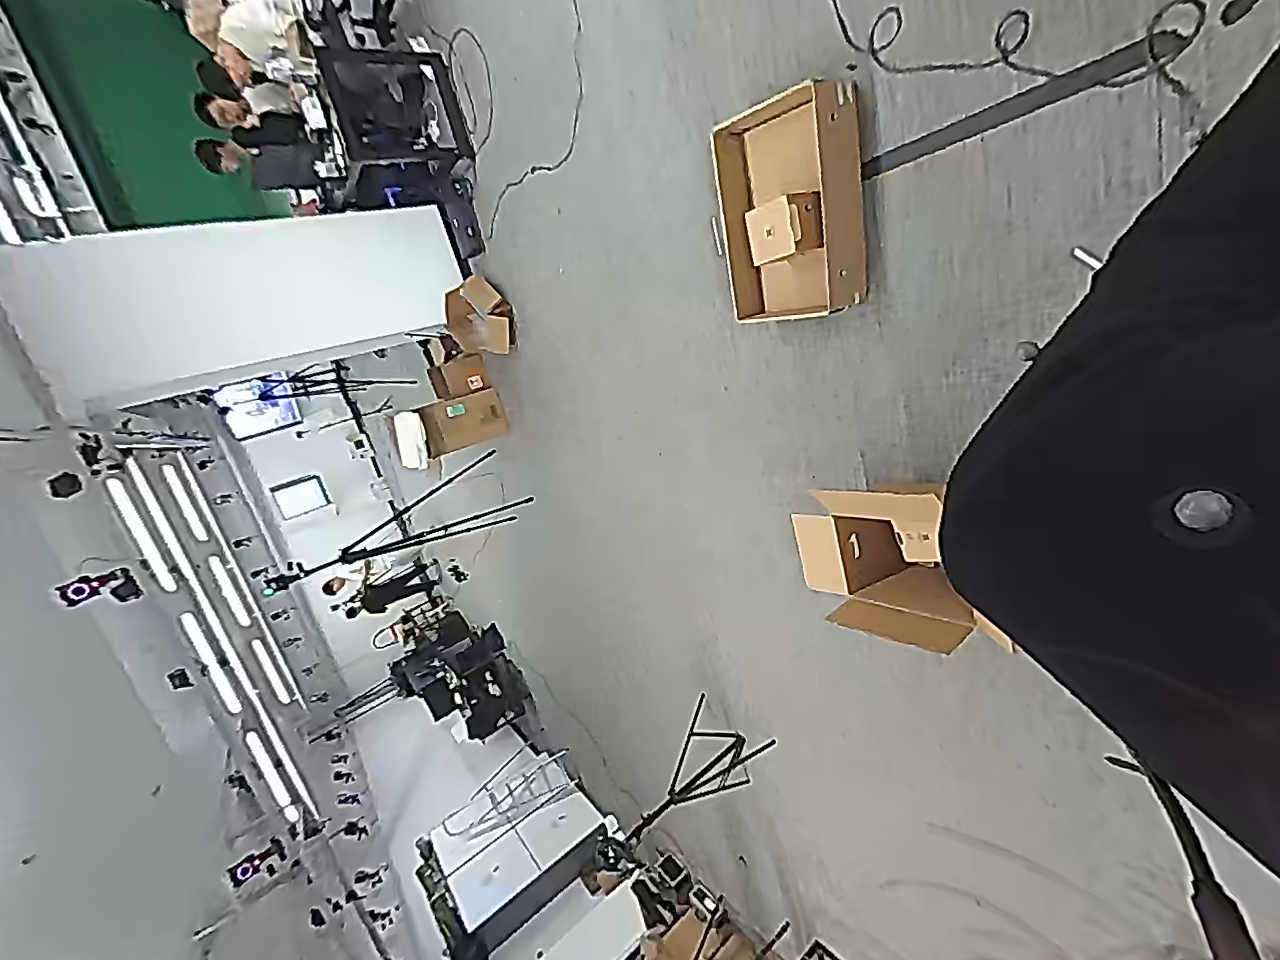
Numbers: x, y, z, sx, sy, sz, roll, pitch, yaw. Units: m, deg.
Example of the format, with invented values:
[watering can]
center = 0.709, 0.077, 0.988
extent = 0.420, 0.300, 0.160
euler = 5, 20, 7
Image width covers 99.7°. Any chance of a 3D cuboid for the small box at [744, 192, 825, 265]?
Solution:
[small box]
center = 0.460, -0.788, 1.696
extent = 0.179, 0.176, 0.168
euler = 8, 115, 55
